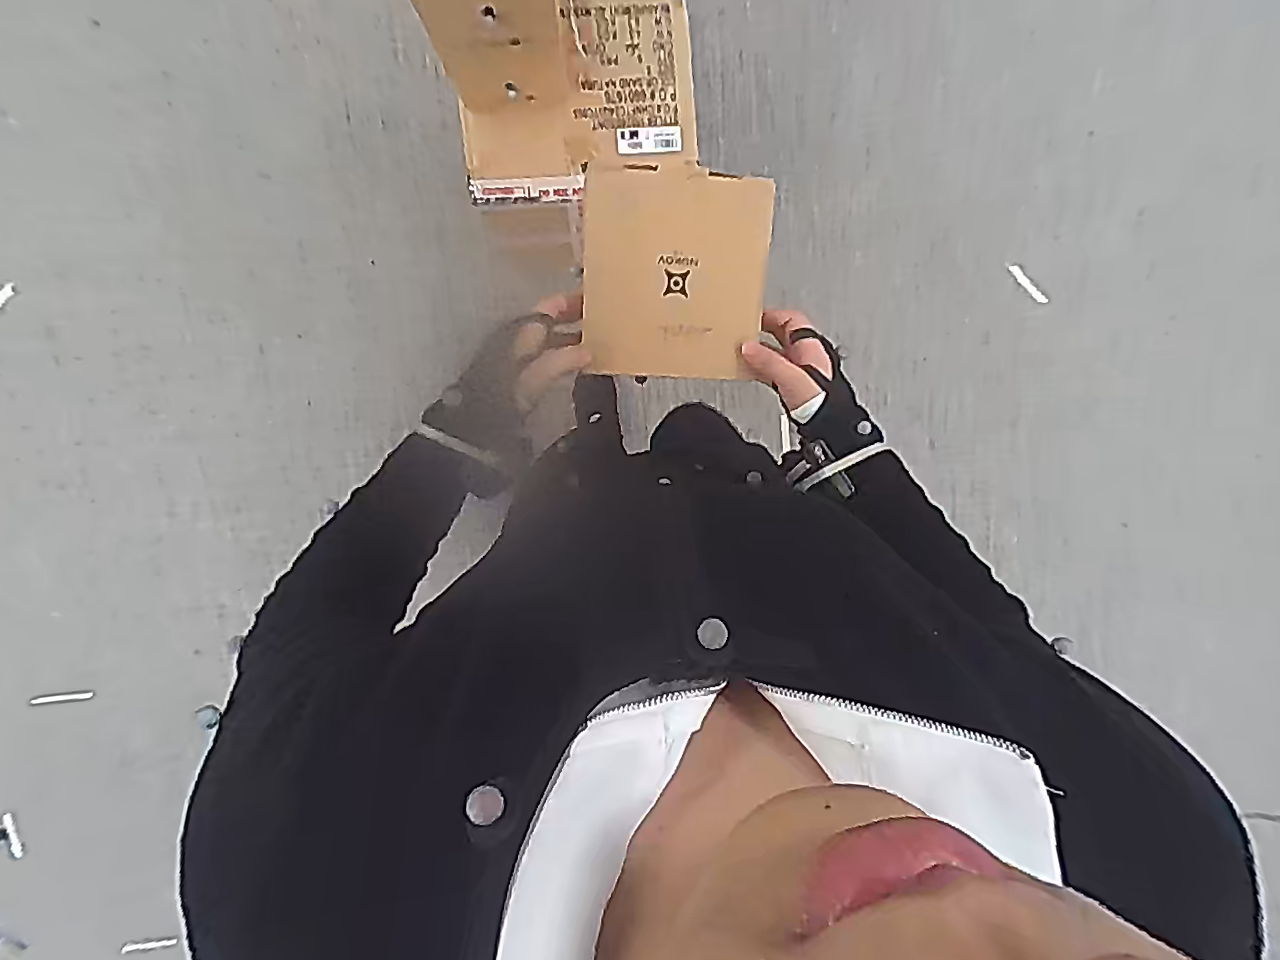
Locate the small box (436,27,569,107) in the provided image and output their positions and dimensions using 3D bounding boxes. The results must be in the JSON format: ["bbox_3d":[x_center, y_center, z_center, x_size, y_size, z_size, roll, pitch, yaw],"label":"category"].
[{"bbox_3d":[-0.198,-0.677,0.777,0.168,0.176,0.179,-7,102,-1],"label":"small box"}]

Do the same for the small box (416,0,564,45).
[{"bbox_3d":[-0.183,-0.636,0.618,0.168,0.176,0.179,-5,103,-2],"label":"small box"}]

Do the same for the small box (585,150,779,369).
[{"bbox_3d":[0.029,-0.213,0.559,0.168,0.176,0.179,1,107,-6],"label":"small box"}]
